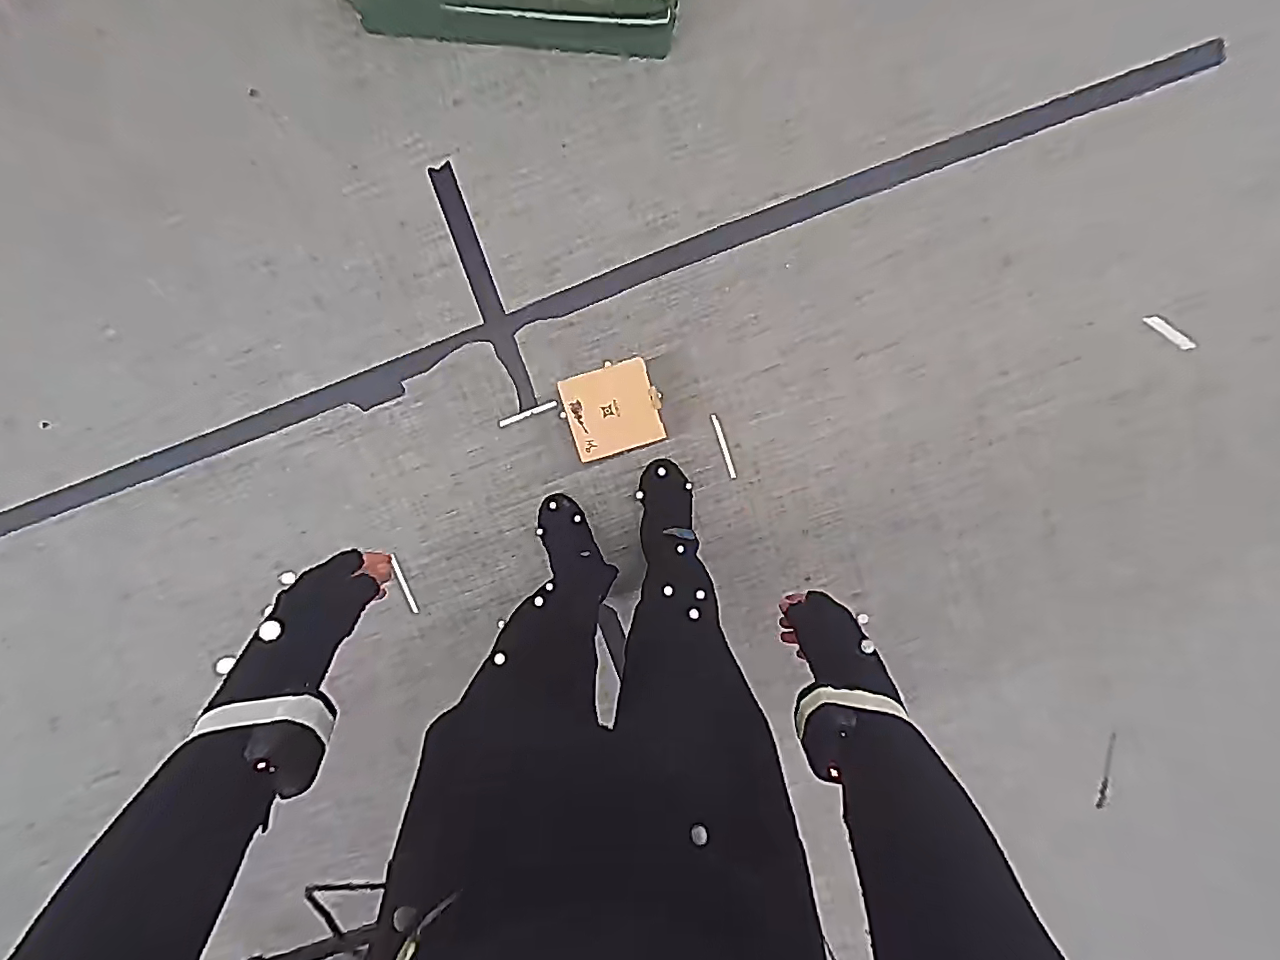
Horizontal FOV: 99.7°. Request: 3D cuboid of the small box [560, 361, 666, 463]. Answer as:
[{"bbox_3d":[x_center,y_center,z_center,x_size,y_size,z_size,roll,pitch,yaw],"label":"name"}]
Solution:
[{"bbox_3d":[-0.057,-0.144,1.125,0.179,0.176,0.168,-16,99,0],"label":"small box"}]
